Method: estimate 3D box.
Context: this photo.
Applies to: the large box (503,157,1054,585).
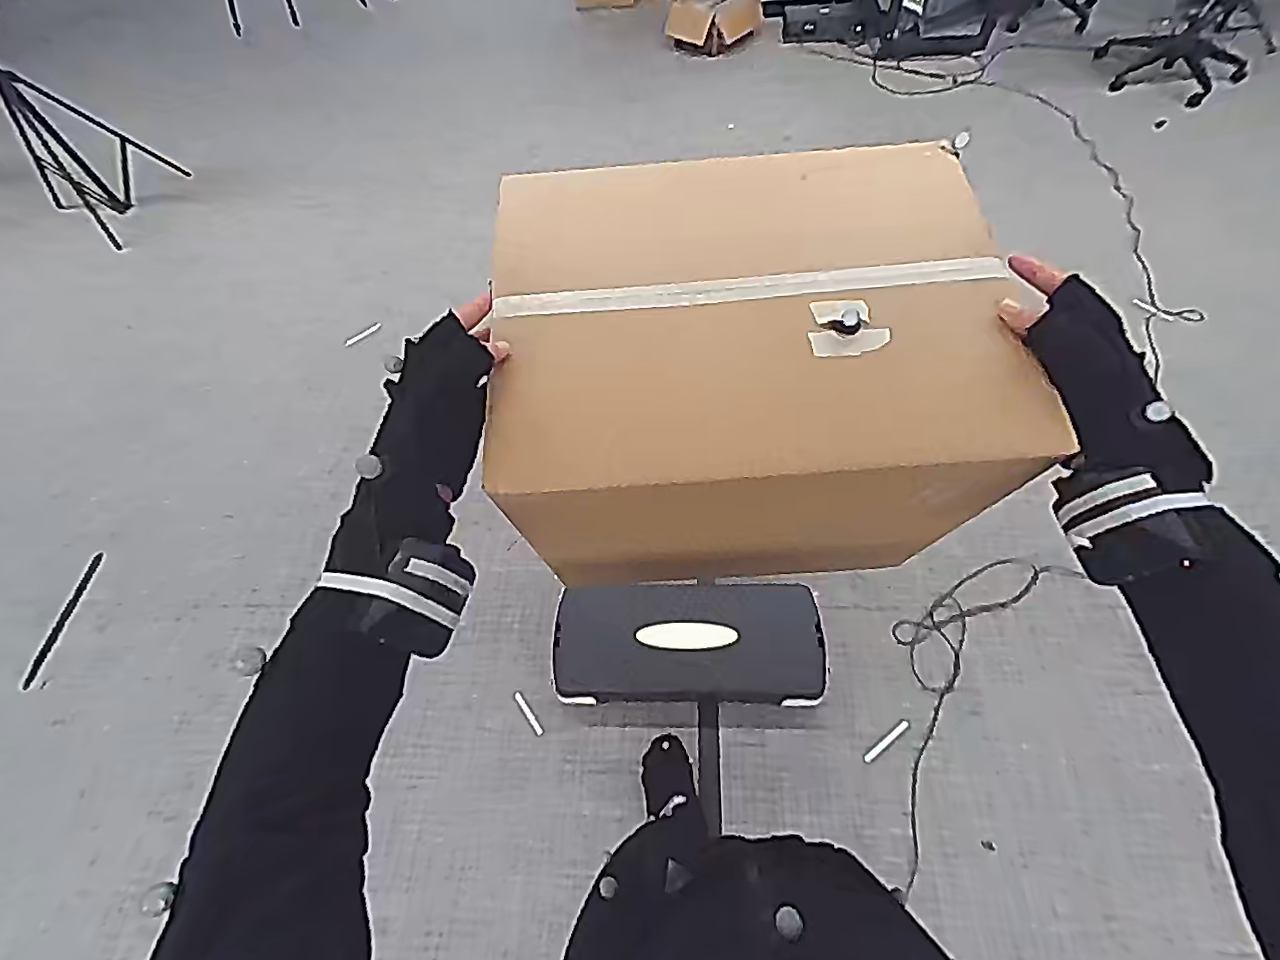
[{"bbox_3d":[0.091,-0.086,0.577,0.408,0.320,0.320,-4,67,0],"label":"large box"}]
